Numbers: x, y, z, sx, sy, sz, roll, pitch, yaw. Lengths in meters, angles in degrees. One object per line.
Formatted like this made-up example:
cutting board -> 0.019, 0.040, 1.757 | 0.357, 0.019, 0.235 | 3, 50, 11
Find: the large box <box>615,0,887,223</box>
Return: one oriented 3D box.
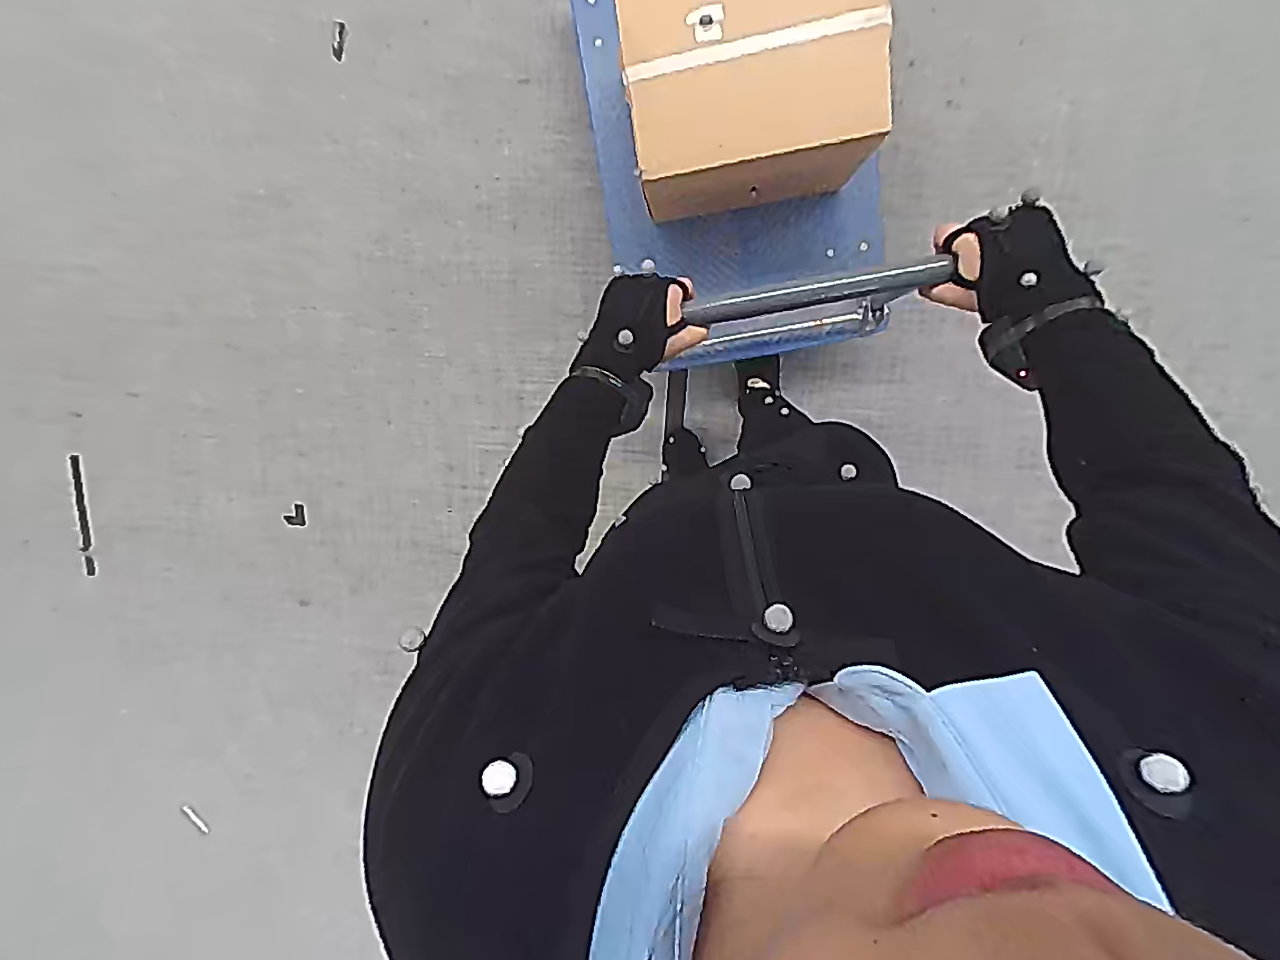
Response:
large box -> 0.194, -0.712, 1.005 | 0.408, 0.320, 0.320 | -8, 101, 9
